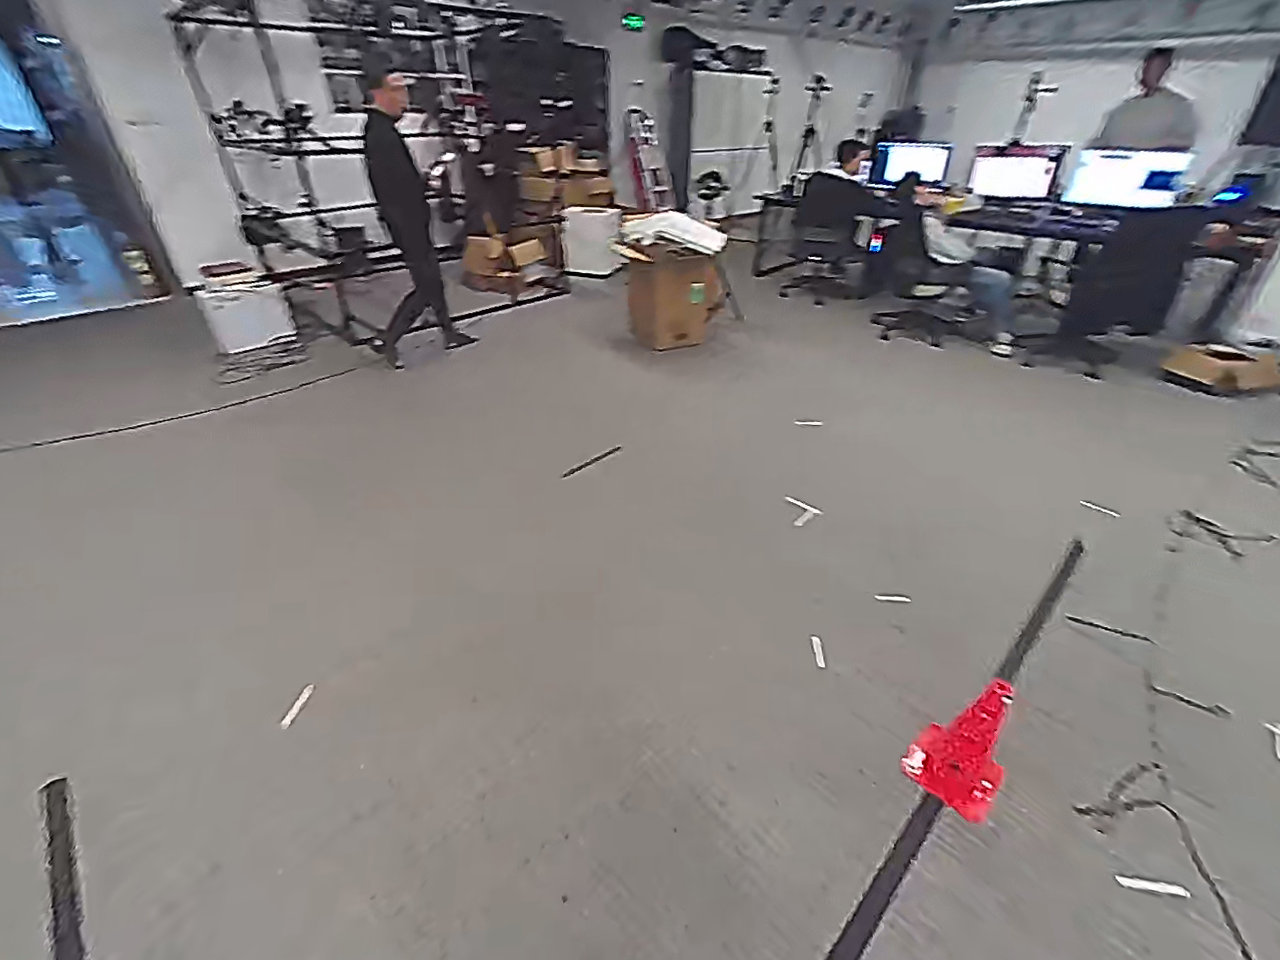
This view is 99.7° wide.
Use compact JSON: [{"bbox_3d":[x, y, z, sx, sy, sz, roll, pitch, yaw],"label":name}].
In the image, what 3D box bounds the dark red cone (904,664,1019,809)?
[{"bbox_3d":[0.821,0.589,1.317,0.201,0.394,0.202,30,44,35],"label":"dark red cone"}]
